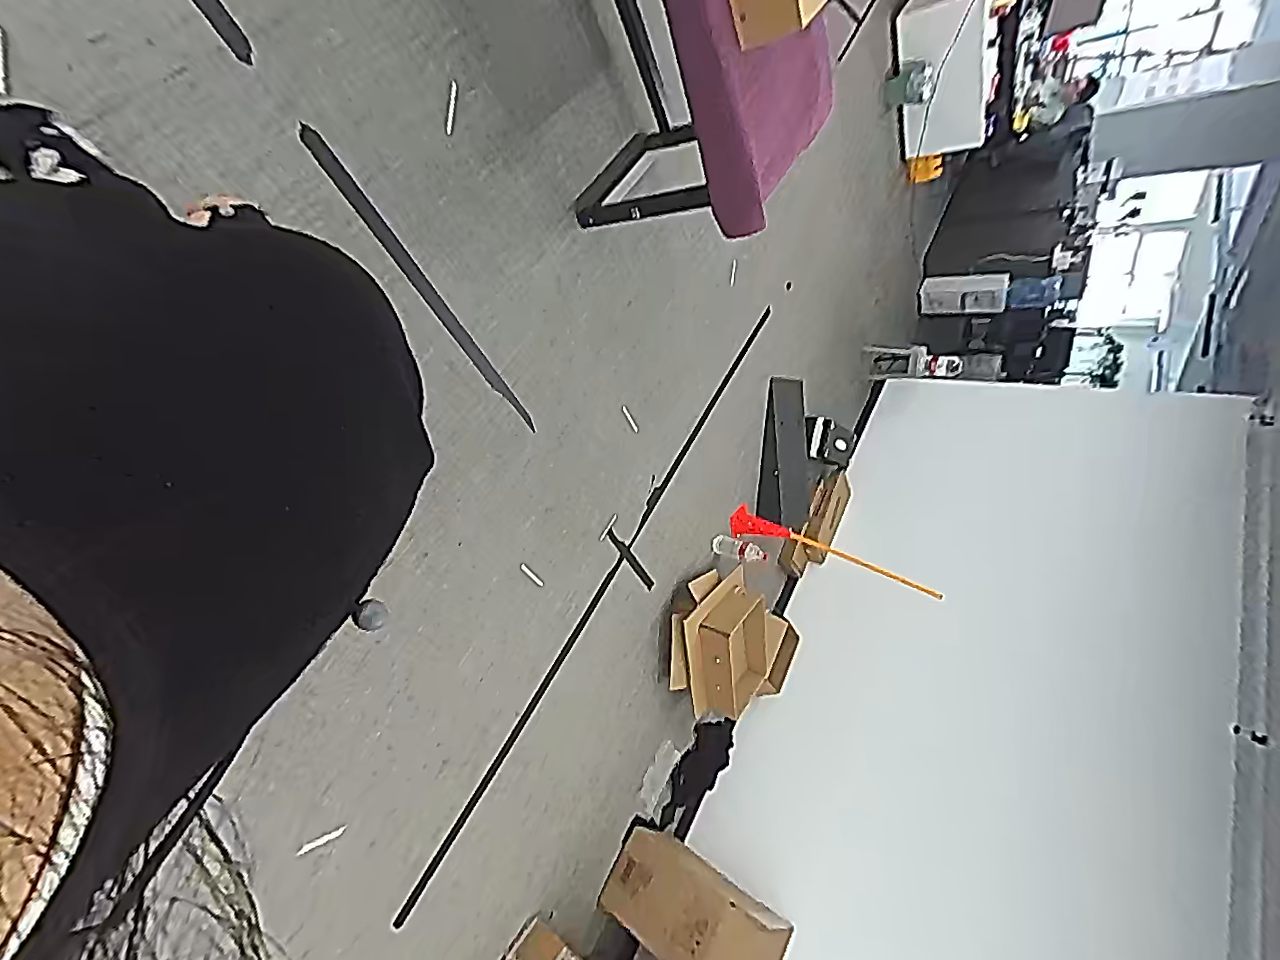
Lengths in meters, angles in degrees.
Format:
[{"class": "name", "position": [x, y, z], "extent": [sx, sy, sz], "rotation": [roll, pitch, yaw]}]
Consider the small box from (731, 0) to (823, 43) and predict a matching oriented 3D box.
[{"class": "small box", "position": [0.320, -1.183, 1.280], "extent": [0.179, 0.176, 0.168], "rotation": [-58, 138, -25]}]
